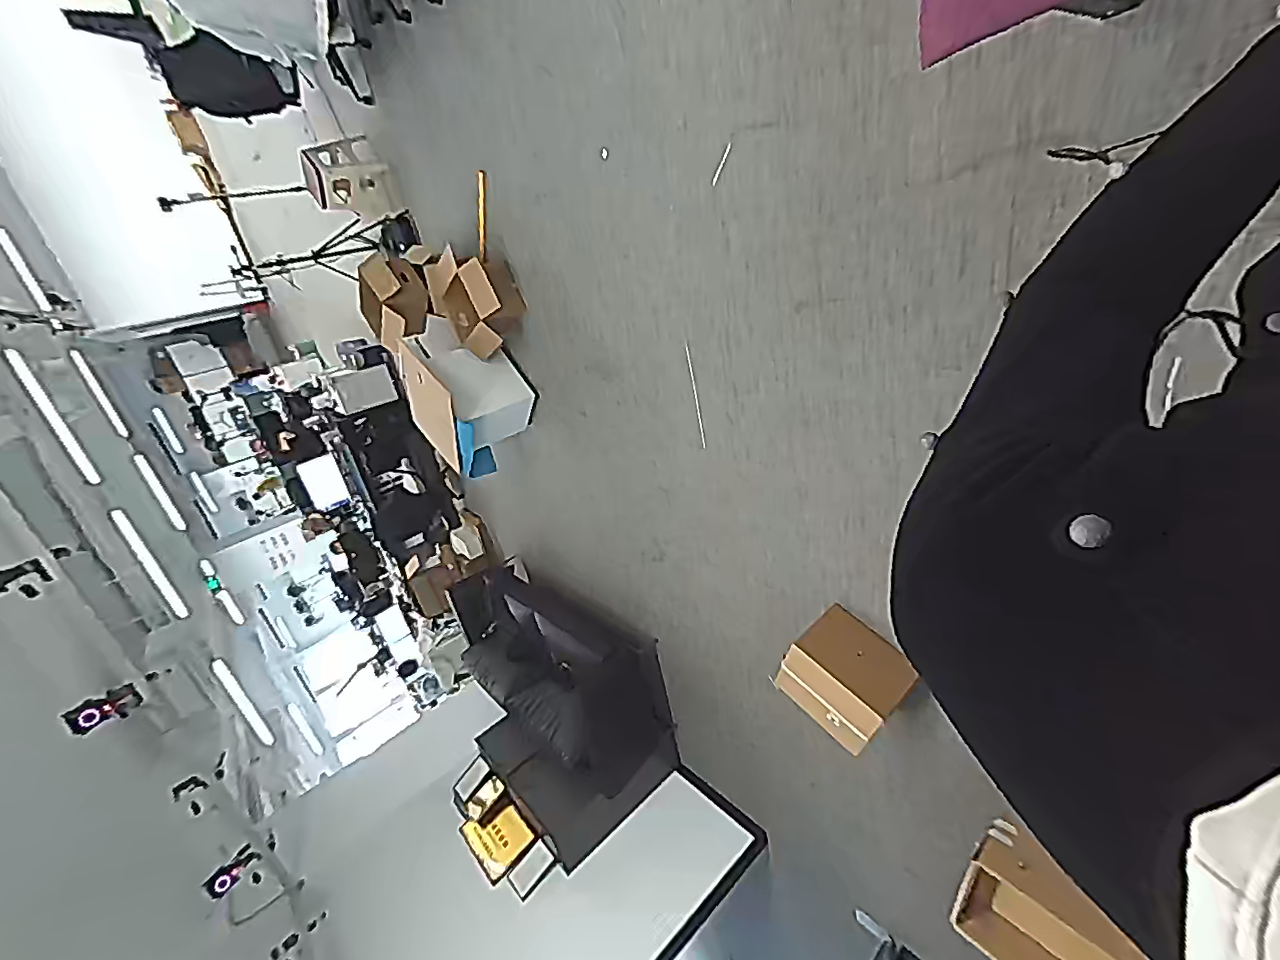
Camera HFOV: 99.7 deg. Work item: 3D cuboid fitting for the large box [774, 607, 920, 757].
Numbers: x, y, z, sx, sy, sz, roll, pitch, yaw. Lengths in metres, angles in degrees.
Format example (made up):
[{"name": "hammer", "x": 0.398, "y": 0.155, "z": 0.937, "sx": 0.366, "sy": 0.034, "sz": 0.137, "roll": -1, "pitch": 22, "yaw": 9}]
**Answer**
[{"name": "large box", "x": 0.822, "y": 0.799, "z": 2.181, "sx": 0.408, "sy": 0.320, "sz": 0.320, "roll": 38, "pitch": 140, "yaw": 31}]
